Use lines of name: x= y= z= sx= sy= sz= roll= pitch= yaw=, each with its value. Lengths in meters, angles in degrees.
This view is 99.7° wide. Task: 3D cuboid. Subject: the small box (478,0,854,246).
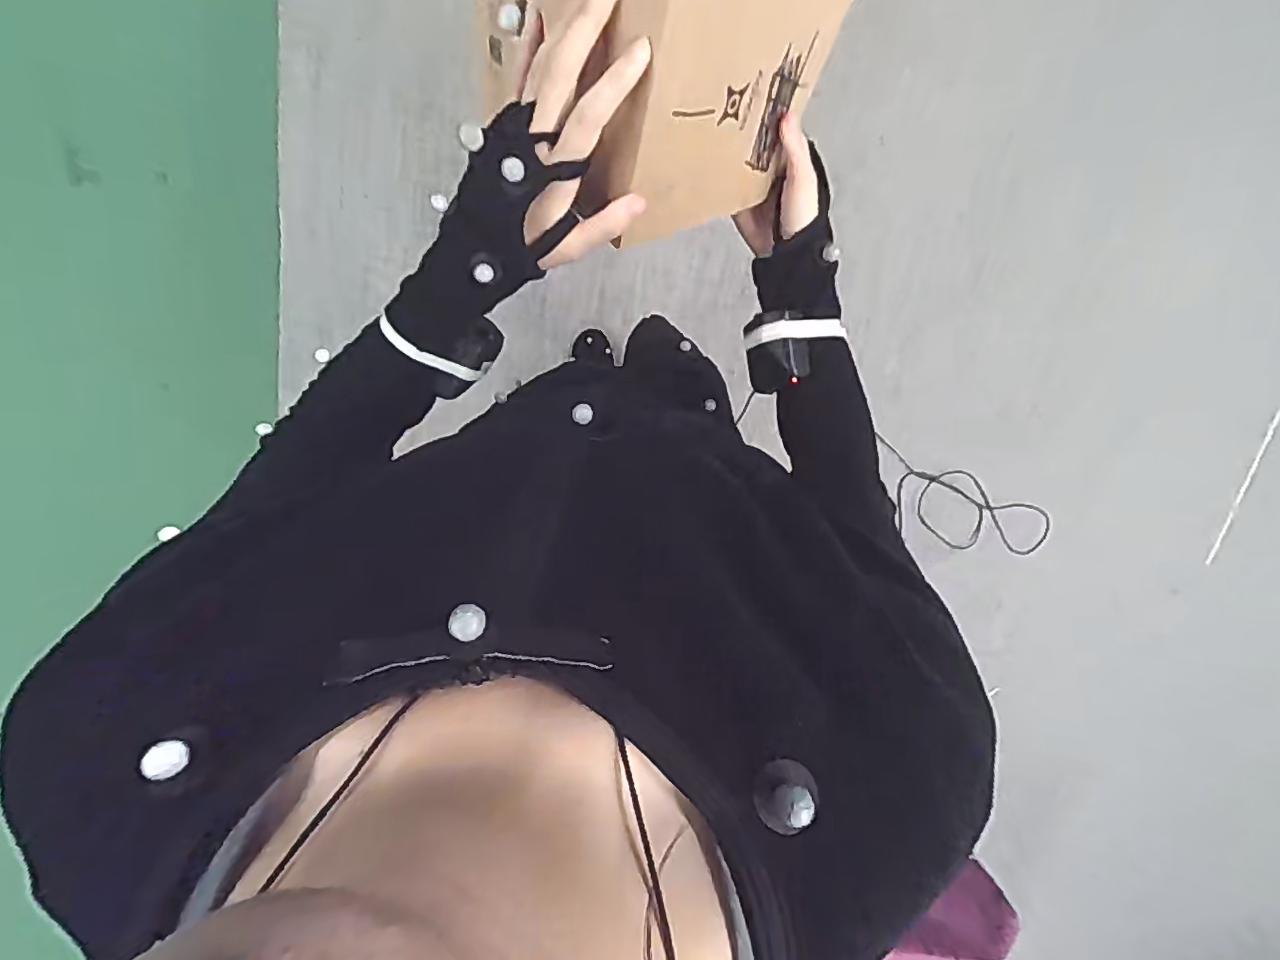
small box: x=0.010 y=-0.300 z=0.373 sx=0.179 sy=0.168 sz=0.176 roll=-31 pitch=70 yaw=-30
